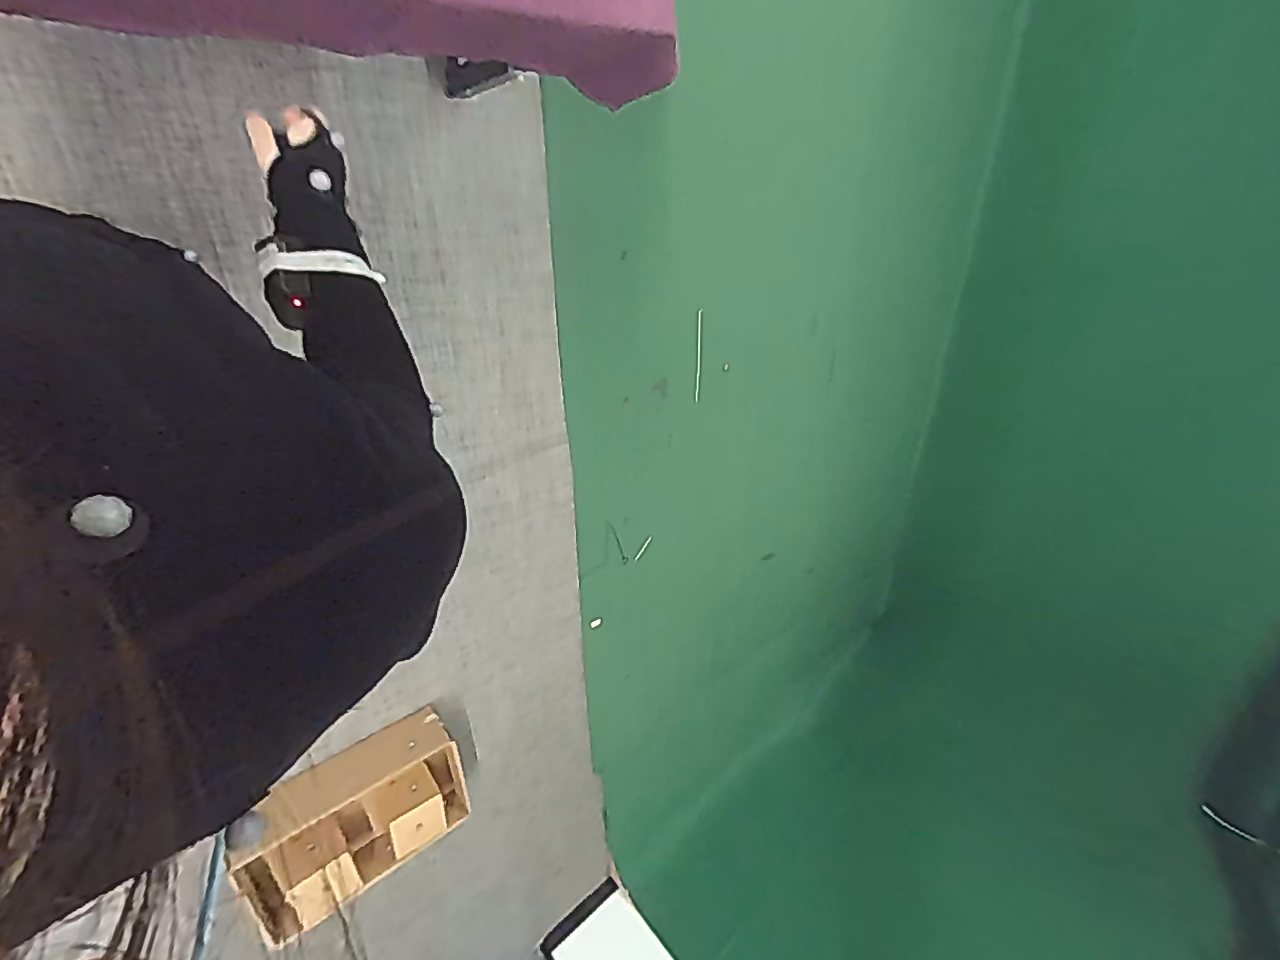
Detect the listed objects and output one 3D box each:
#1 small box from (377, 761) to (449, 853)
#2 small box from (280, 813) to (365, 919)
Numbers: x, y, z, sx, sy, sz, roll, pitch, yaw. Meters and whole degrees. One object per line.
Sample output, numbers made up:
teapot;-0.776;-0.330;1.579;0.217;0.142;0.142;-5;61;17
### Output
small box;-0.759;1.077;1.803;0.168;0.176;0.179;-17;120;-37
small box;-0.966;1.158;1.643;0.168;0.176;0.179;-21;122;-35
